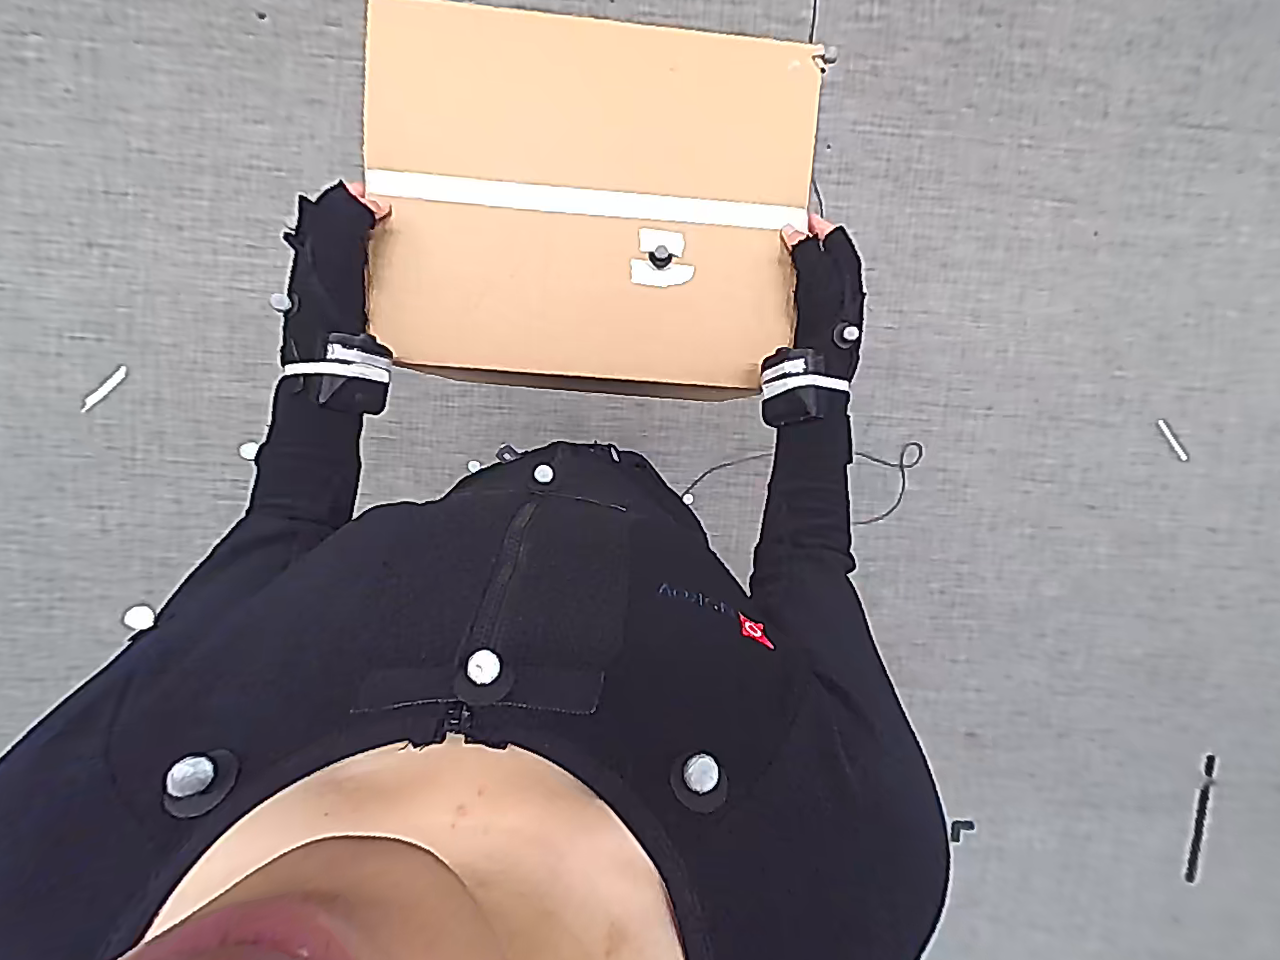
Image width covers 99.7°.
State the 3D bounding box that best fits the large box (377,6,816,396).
[{"bbox_3d":[-0.052,-0.273,0.652,0.408,0.320,0.320,3,97,-4],"label":"large box"}]
